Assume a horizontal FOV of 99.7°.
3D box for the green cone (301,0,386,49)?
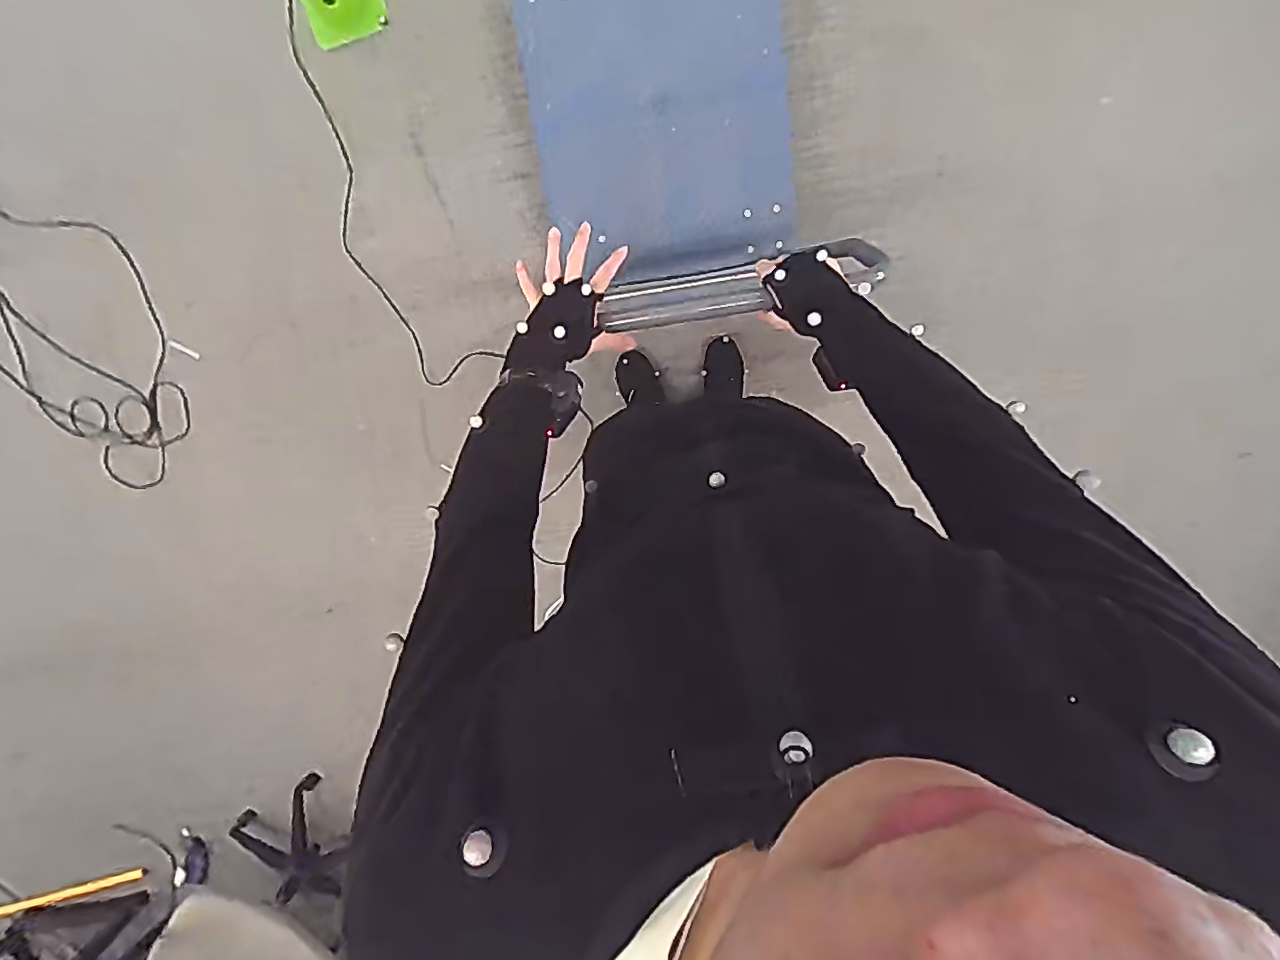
[{"bbox_3d":[-0.756,-1.150,1.165,0.202,0.368,0.200,-14,105,9],"label":"green cone"}]
